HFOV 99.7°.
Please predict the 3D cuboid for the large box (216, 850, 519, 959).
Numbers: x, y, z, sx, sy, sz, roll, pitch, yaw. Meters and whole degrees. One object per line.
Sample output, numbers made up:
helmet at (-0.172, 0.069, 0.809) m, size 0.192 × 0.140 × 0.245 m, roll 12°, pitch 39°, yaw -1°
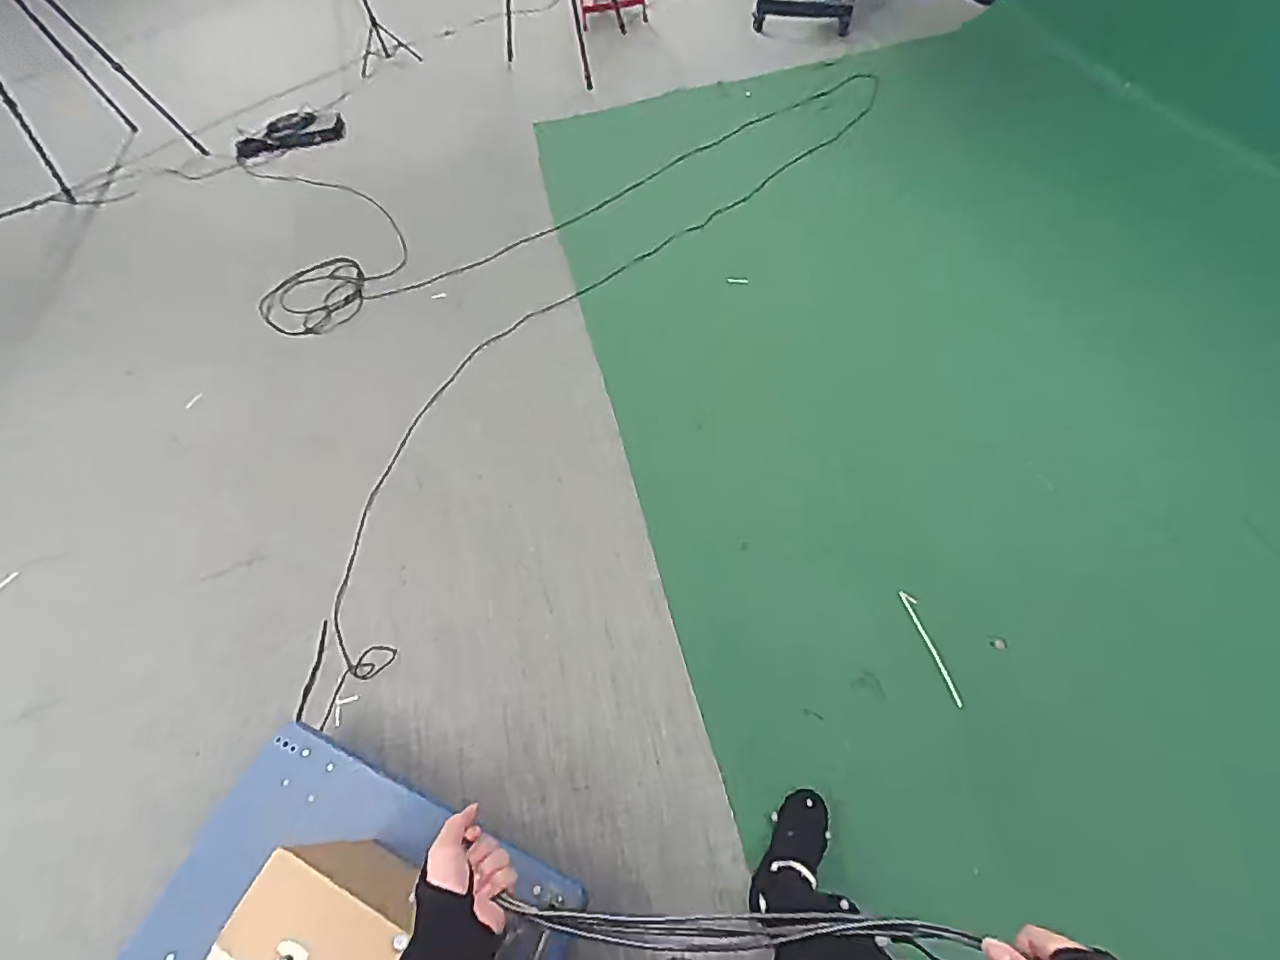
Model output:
large box at (-0.491, 0.914, 0.948) m, size 0.408 × 0.320 × 0.320 m, roll 17°, pitch 61°, yaw 18°
